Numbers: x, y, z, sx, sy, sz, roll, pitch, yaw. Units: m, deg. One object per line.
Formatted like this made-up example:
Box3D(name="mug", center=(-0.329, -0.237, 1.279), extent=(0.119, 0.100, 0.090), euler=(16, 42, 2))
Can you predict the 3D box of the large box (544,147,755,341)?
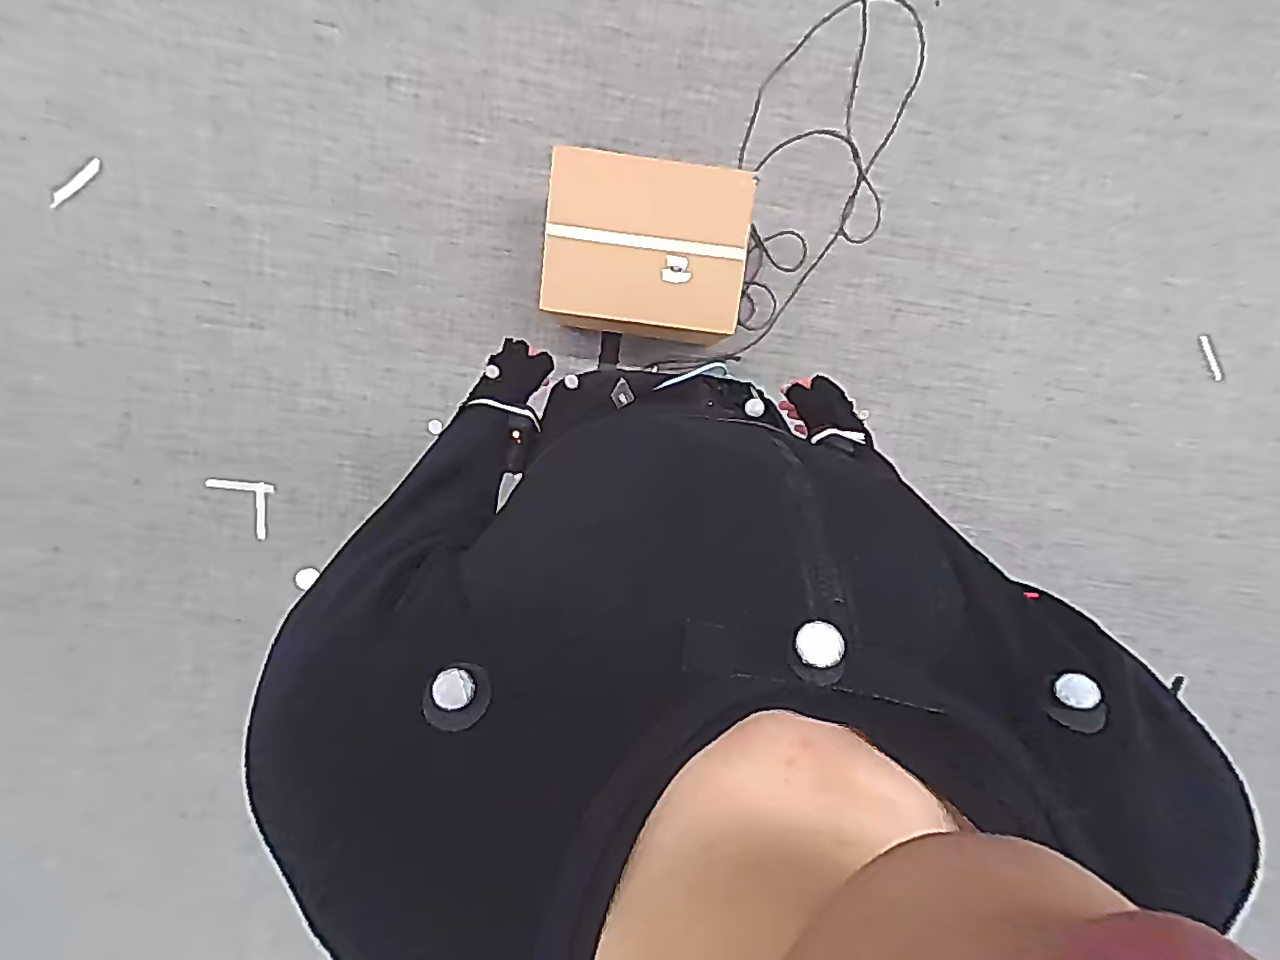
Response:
Box3D(name="large box", center=(0.009, -0.507, 1.235), extent=(0.408, 0.320, 0.320), euler=(7, 101, -3))
